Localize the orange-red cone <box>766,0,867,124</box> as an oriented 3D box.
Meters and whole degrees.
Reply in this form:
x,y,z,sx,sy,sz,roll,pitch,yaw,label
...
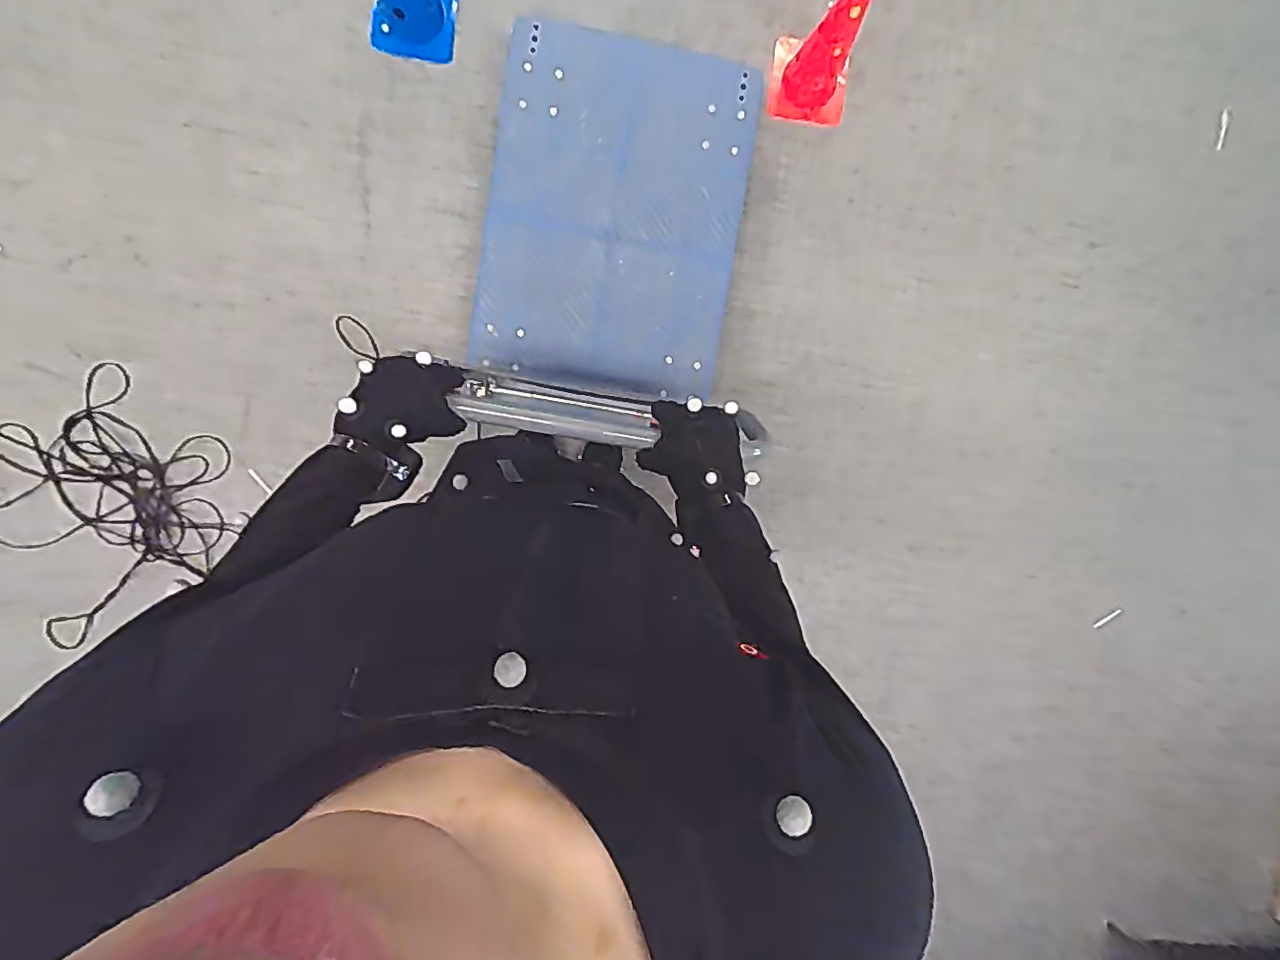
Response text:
x,y,z,sx,sy,sz,roll,pitch,yaw,label
0.447,-1.037,1.255,0.199,0.360,0.198,7,94,-3,orange-red cone
